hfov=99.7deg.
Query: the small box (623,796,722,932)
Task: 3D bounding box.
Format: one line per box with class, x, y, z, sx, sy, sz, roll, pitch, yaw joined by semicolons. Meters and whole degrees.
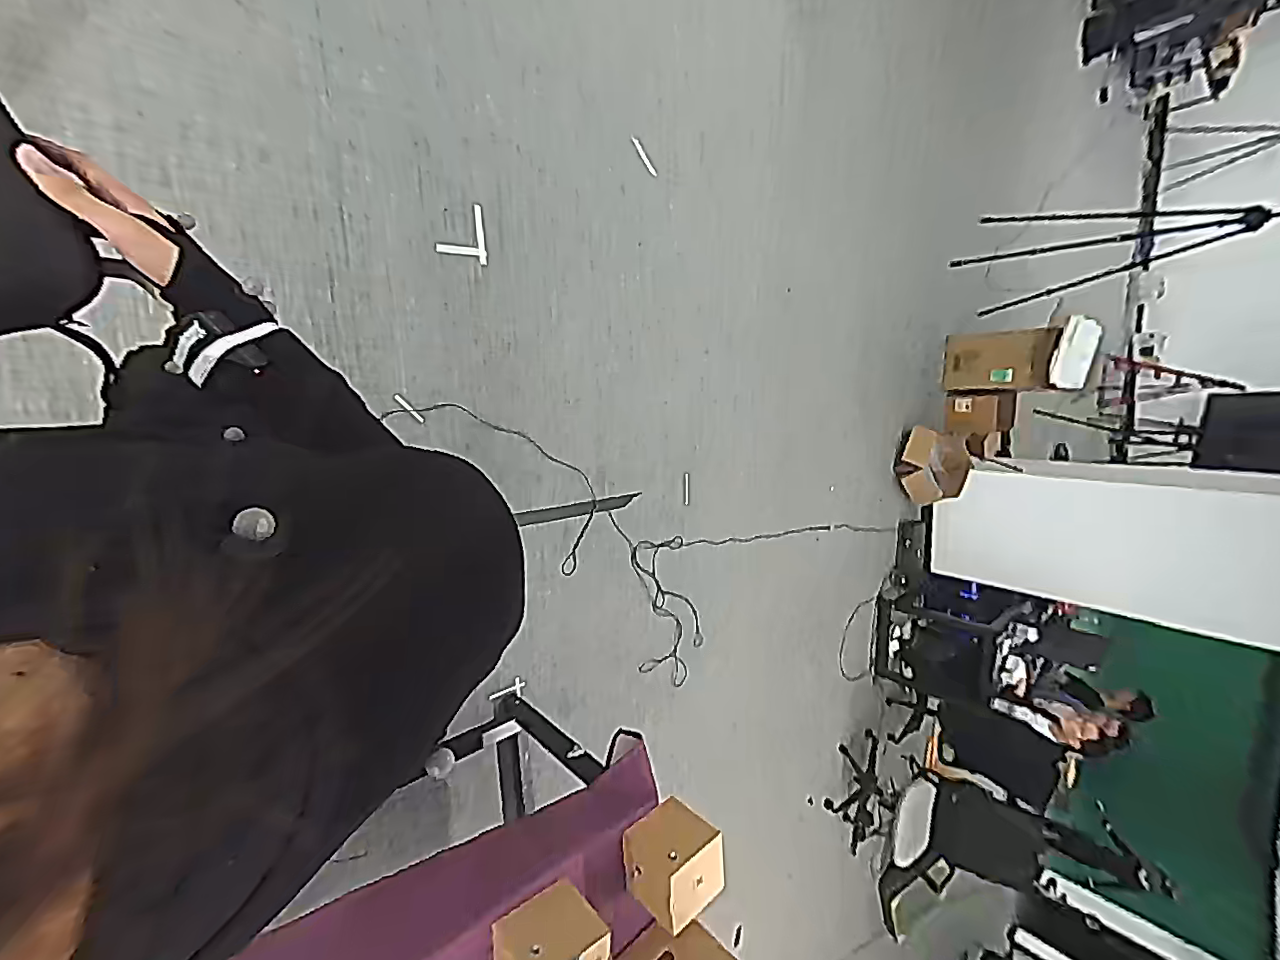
small box;0.080;0.919;1.315;0.179;0.176;0.168;-14;106;-38
